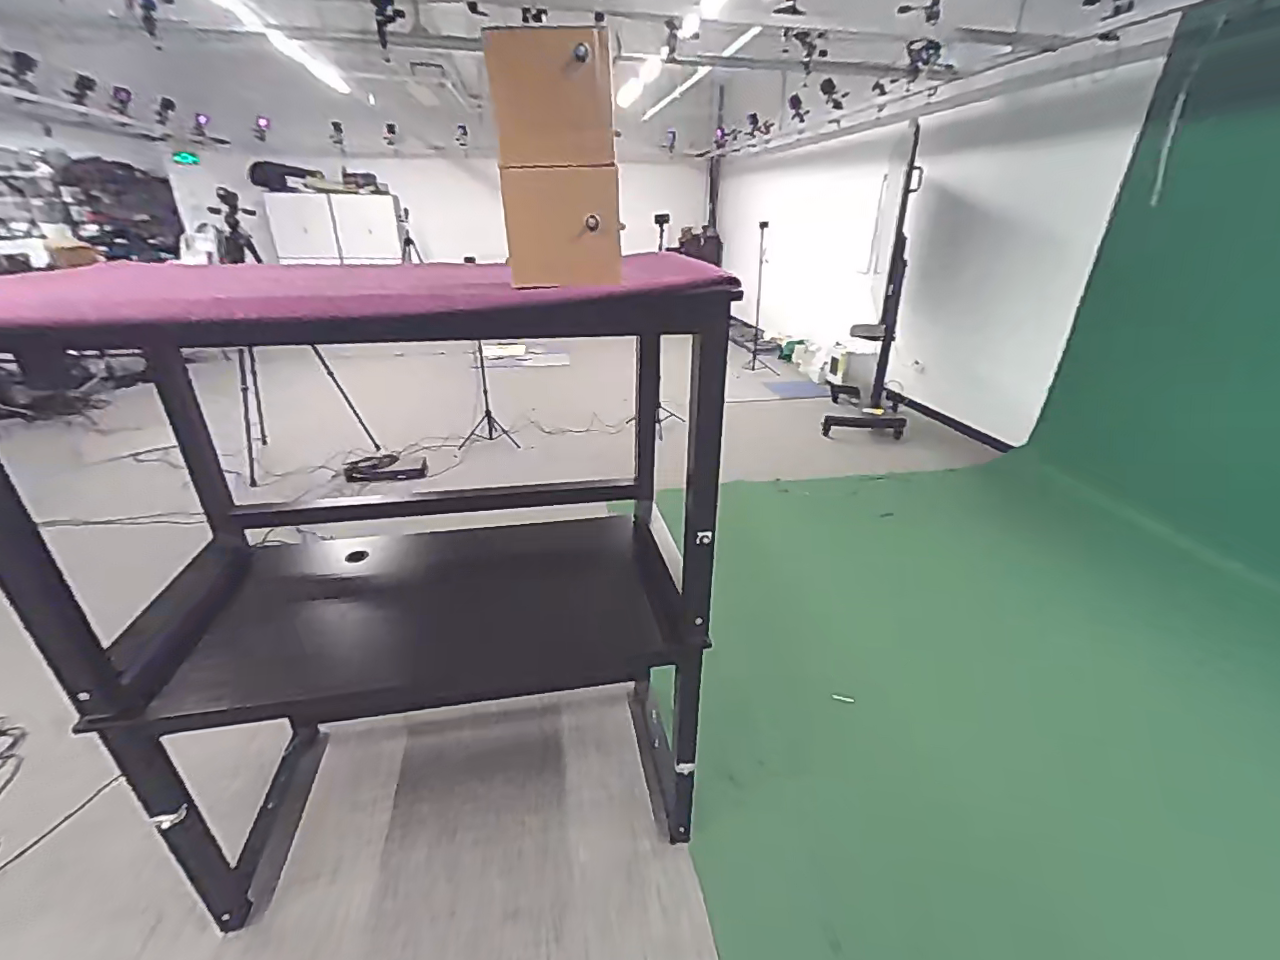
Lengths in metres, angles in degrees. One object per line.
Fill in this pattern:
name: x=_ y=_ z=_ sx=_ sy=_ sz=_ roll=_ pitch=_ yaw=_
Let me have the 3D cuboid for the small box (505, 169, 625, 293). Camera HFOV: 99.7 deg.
small box: x=-0.116 y=-0.406 z=0.891 sx=0.179 sy=0.176 sz=0.168 roll=-4 pitch=23 yaw=-5

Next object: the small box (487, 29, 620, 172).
small box: x=-0.121 y=-0.557 z=0.833 sx=0.179 sy=0.176 sz=0.168 roll=-1 pitch=23 yaw=-2
